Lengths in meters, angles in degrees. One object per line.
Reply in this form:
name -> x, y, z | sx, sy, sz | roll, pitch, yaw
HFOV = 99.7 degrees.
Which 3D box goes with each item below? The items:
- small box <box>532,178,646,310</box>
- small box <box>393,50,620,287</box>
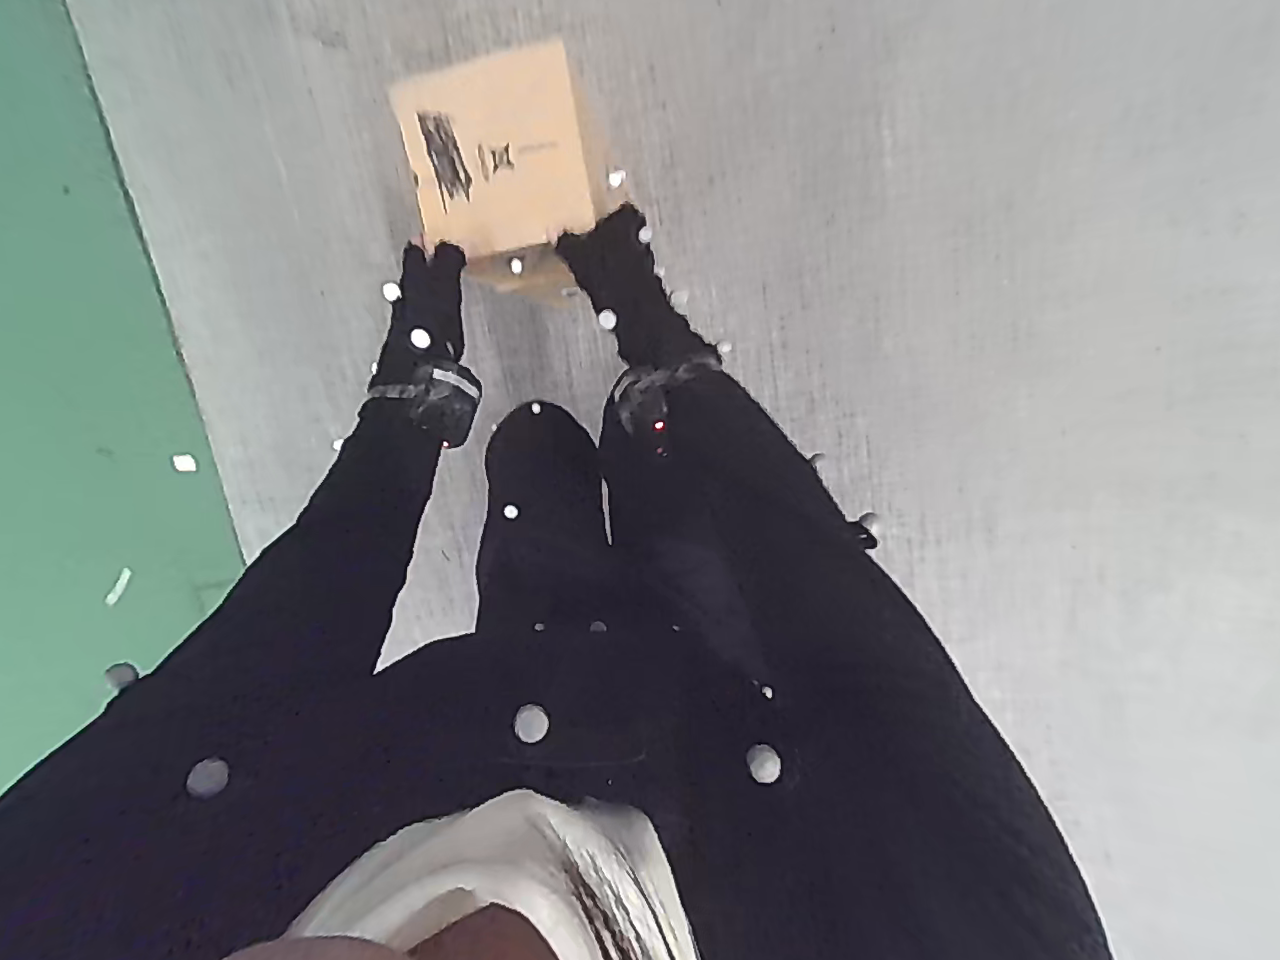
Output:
small box -> -0.086, -0.387, 0.914 | 0.179, 0.176, 0.168 | -5, 102, 9
small box -> -0.132, -0.320, 0.598 | 0.179, 0.176, 0.168 | -7, 102, 10
